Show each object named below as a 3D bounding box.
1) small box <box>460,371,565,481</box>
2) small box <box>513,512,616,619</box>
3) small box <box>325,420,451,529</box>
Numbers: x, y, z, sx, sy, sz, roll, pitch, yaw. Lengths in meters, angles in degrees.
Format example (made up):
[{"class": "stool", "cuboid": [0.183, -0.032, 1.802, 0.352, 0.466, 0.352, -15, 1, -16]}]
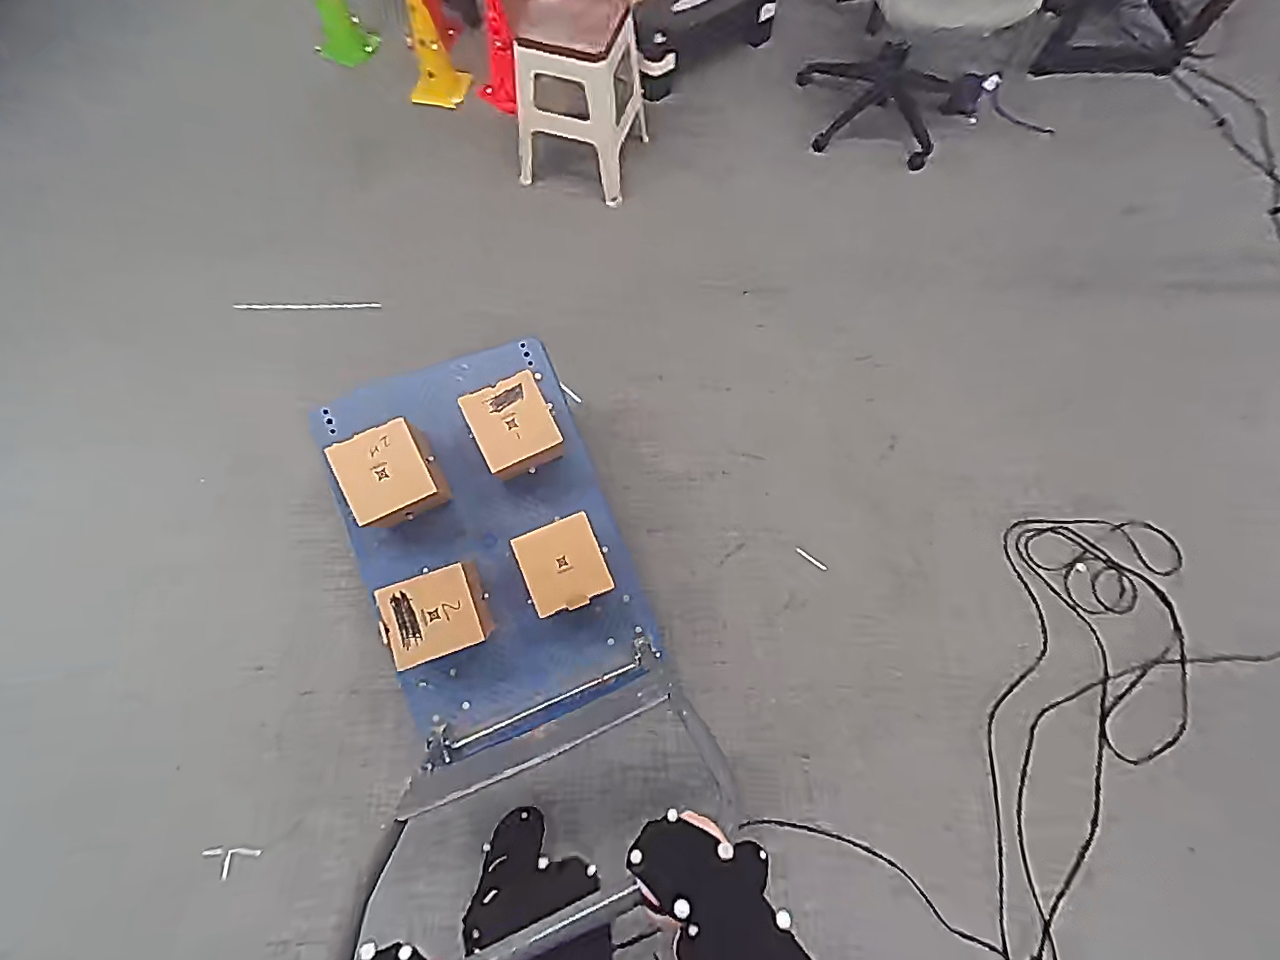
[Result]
[{"class": "small box", "cuboid": [-0.278, -0.113, 1.207, 0.168, 0.176, 0.179, -26, 88, -9]}, {"class": "small box", "cuboid": [-0.166, 0.184, 1.186, 0.168, 0.176, 0.179, -22, 87, -10]}, {"class": "small box", "cuboid": [-0.528, -0.005, 1.161, 0.168, 0.176, 0.179, -26, 87, -10]}]
